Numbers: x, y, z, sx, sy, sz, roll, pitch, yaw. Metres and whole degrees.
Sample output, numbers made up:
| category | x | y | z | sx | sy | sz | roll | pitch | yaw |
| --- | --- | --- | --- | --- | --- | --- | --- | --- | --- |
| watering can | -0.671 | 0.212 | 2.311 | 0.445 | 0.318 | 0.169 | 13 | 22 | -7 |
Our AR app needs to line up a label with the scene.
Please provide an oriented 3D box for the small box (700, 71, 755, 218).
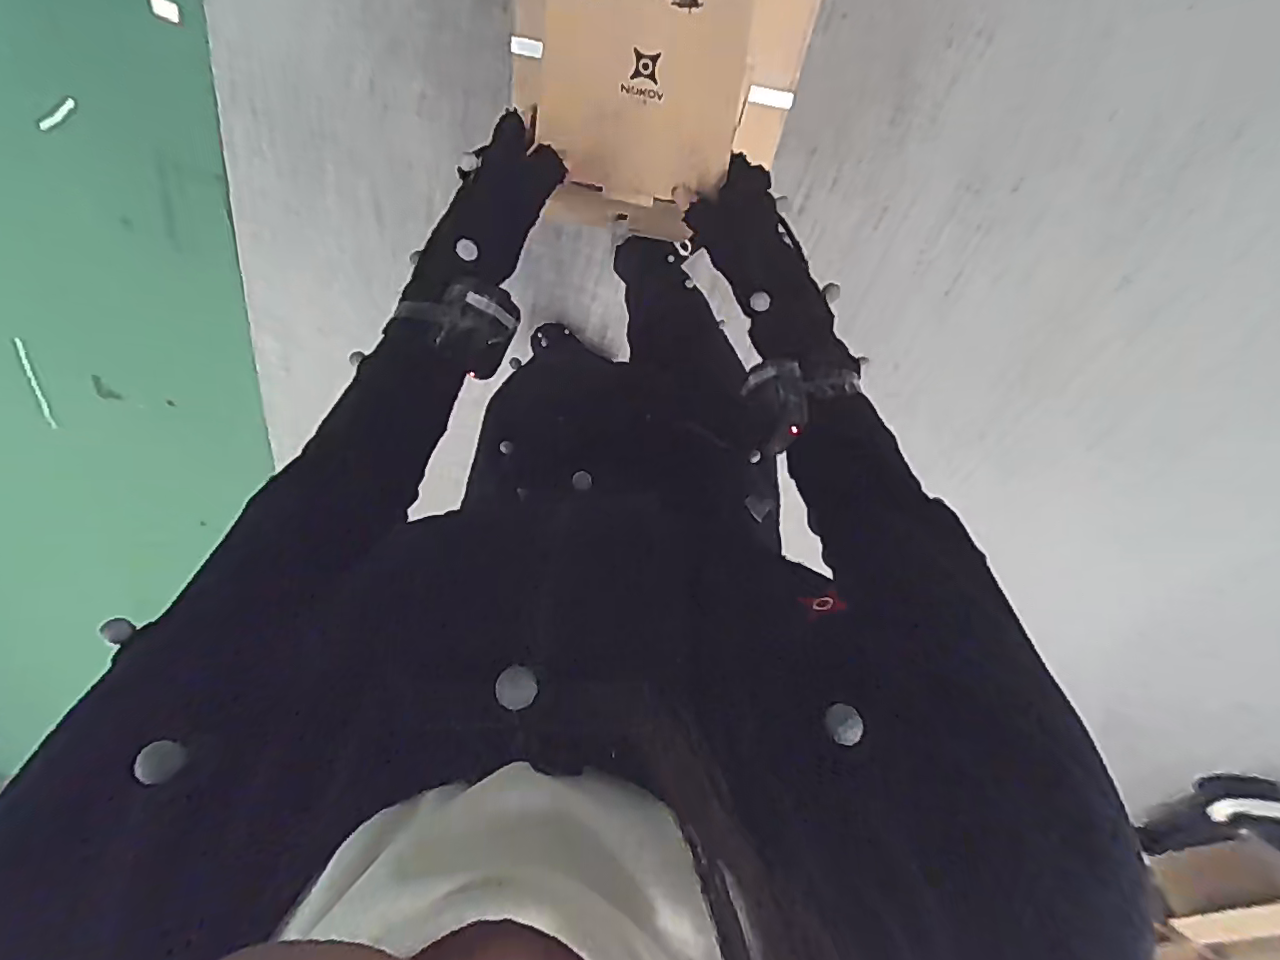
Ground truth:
| category | x | y | z | sx | sy | sz | roll | pitch | yaw |
| --- | --- | --- | --- | --- | --- | --- | --- | --- | --- |
| small box | 0.042 | -0.488 | 0.746 | 0.179 | 0.176 | 0.168 | 15 | 127 | -4 |

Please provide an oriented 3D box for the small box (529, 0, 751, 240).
| category | x | y | z | sx | sy | sz | roll | pitch | yaw |
| --- | --- | --- | --- | --- | --- | --- | --- | --- | --- |
| small box | -0.008 | -0.346 | 0.524 | 0.168 | 0.176 | 0.179 | 6 | 104 | -8 |
